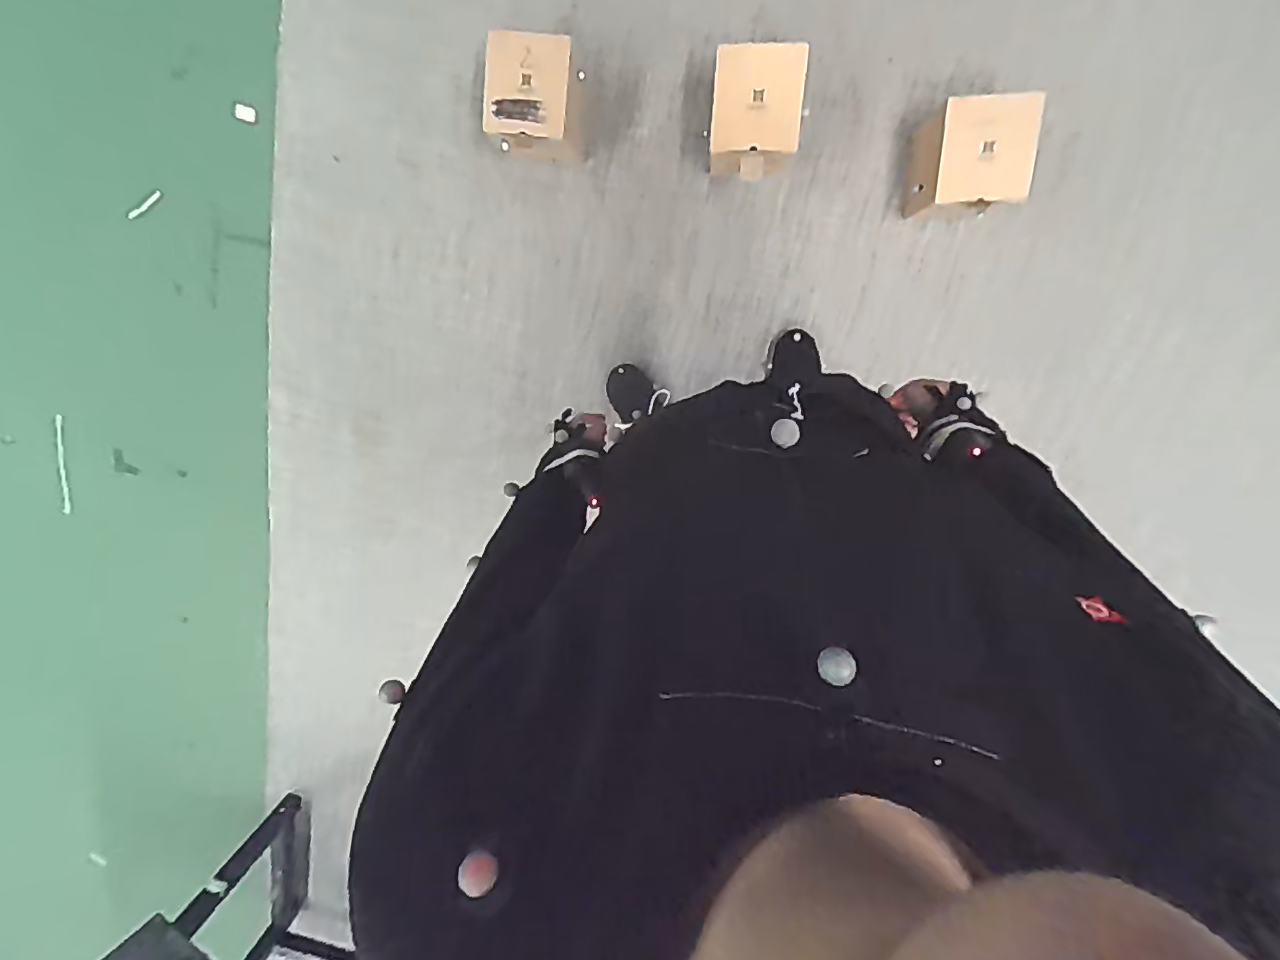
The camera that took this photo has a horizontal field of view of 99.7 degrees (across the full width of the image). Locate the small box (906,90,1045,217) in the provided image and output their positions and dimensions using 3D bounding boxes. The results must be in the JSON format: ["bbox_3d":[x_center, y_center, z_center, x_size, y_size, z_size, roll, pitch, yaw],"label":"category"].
[{"bbox_3d":[0.633,-0.617,1.047,0.168,0.176,0.179,1,105,6],"label":"small box"}]

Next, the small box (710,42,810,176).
[{"bbox_3d":[0.227,-0.722,1.067,0.168,0.176,0.179,4,107,6],"label":"small box"}]
